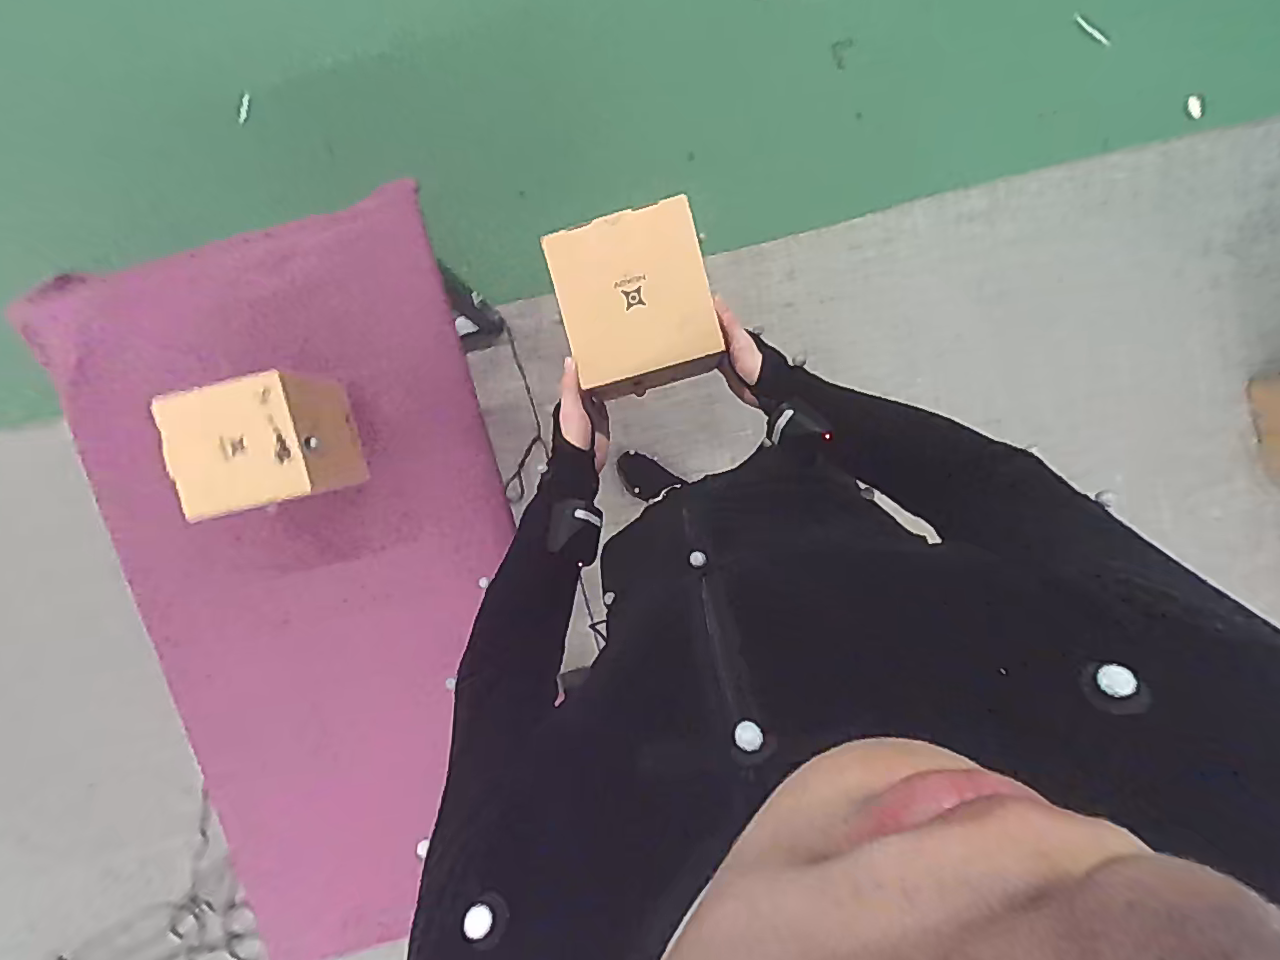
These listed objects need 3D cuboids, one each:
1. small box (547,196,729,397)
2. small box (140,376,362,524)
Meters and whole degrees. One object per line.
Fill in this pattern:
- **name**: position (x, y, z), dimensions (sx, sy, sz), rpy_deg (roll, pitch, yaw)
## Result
- **small box**: position (0.004, -0.202, 0.656), dimensions (0.168, 0.176, 0.179), rpy_deg (-14, 93, 4)
- **small box**: position (-0.542, -0.045, 0.779), dimensions (0.179, 0.176, 0.168), rpy_deg (-13, 96, 0)
